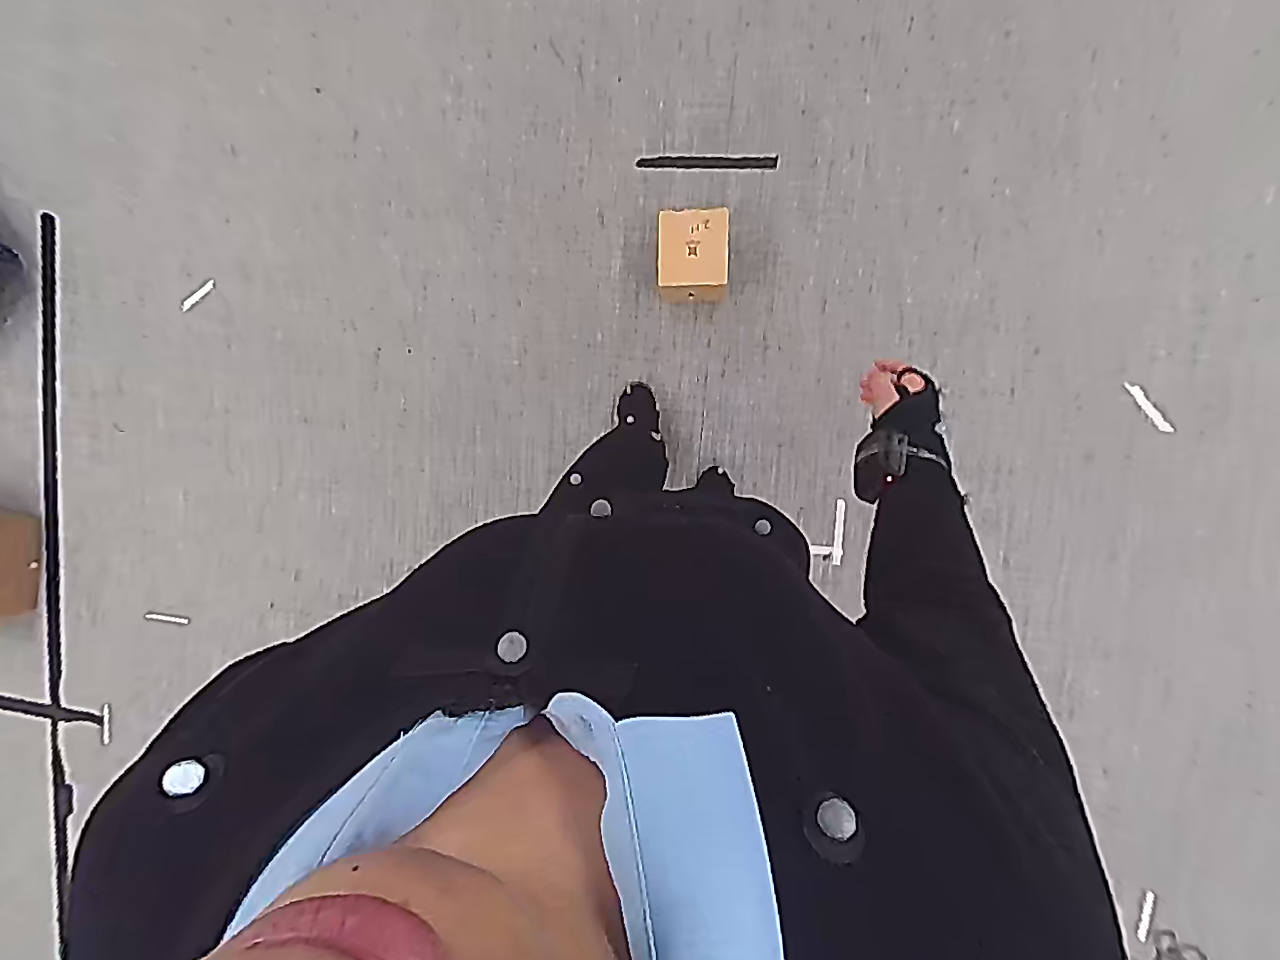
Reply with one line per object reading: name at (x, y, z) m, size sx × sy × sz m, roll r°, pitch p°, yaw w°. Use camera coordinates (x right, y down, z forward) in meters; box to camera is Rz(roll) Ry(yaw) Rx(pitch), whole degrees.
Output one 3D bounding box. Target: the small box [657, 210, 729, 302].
small box at (0.134, -0.546, 1.342) m, size 0.168 × 0.176 × 0.179 m, roll 2°, pitch 94°, yaw 7°
